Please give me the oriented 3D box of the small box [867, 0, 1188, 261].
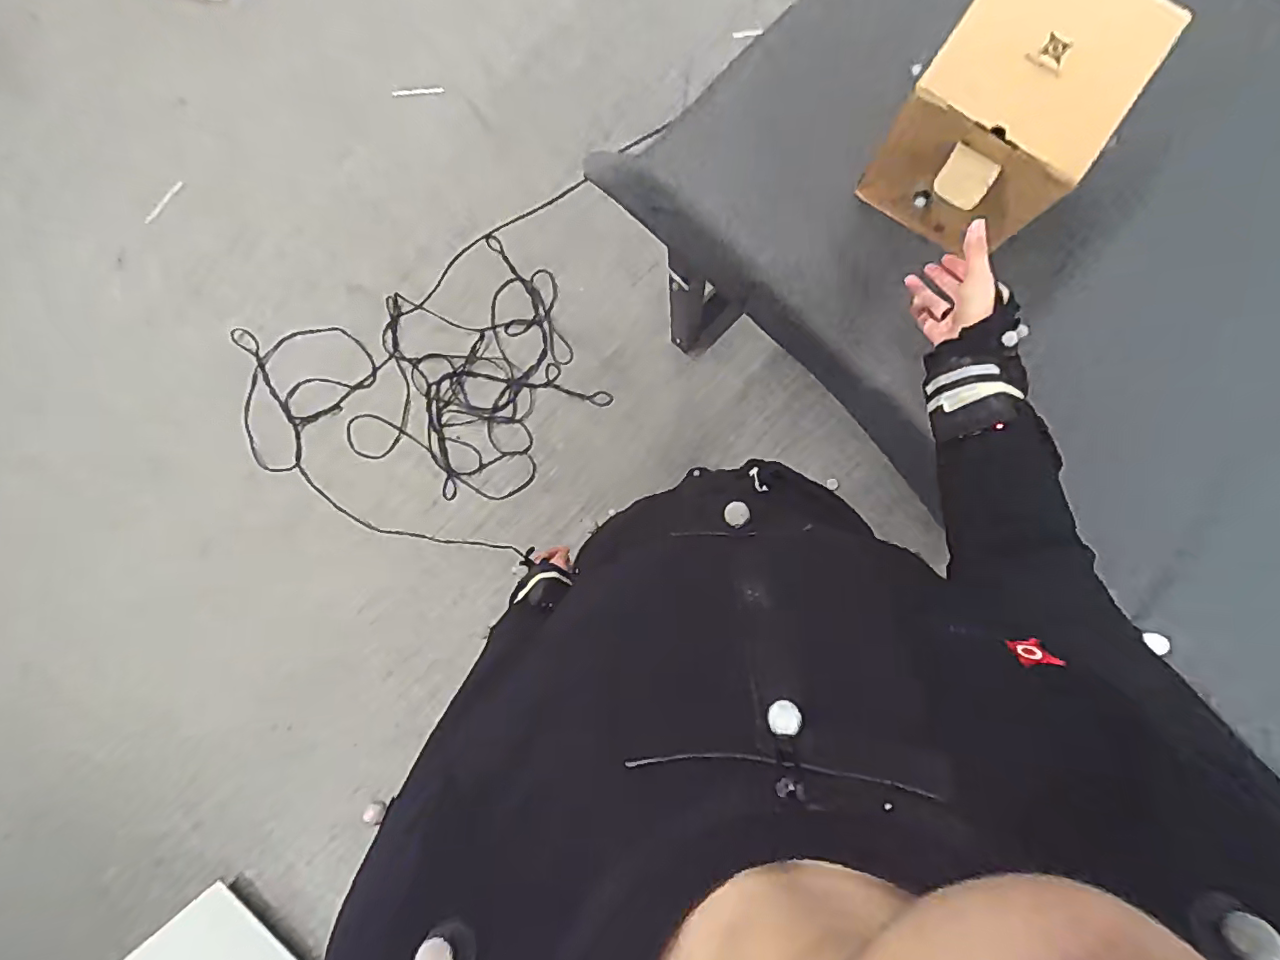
[{"bbox_3d":[0.367,-0.366,0.553,0.168,0.176,0.179,34,91,4],"label":"small box"}]
